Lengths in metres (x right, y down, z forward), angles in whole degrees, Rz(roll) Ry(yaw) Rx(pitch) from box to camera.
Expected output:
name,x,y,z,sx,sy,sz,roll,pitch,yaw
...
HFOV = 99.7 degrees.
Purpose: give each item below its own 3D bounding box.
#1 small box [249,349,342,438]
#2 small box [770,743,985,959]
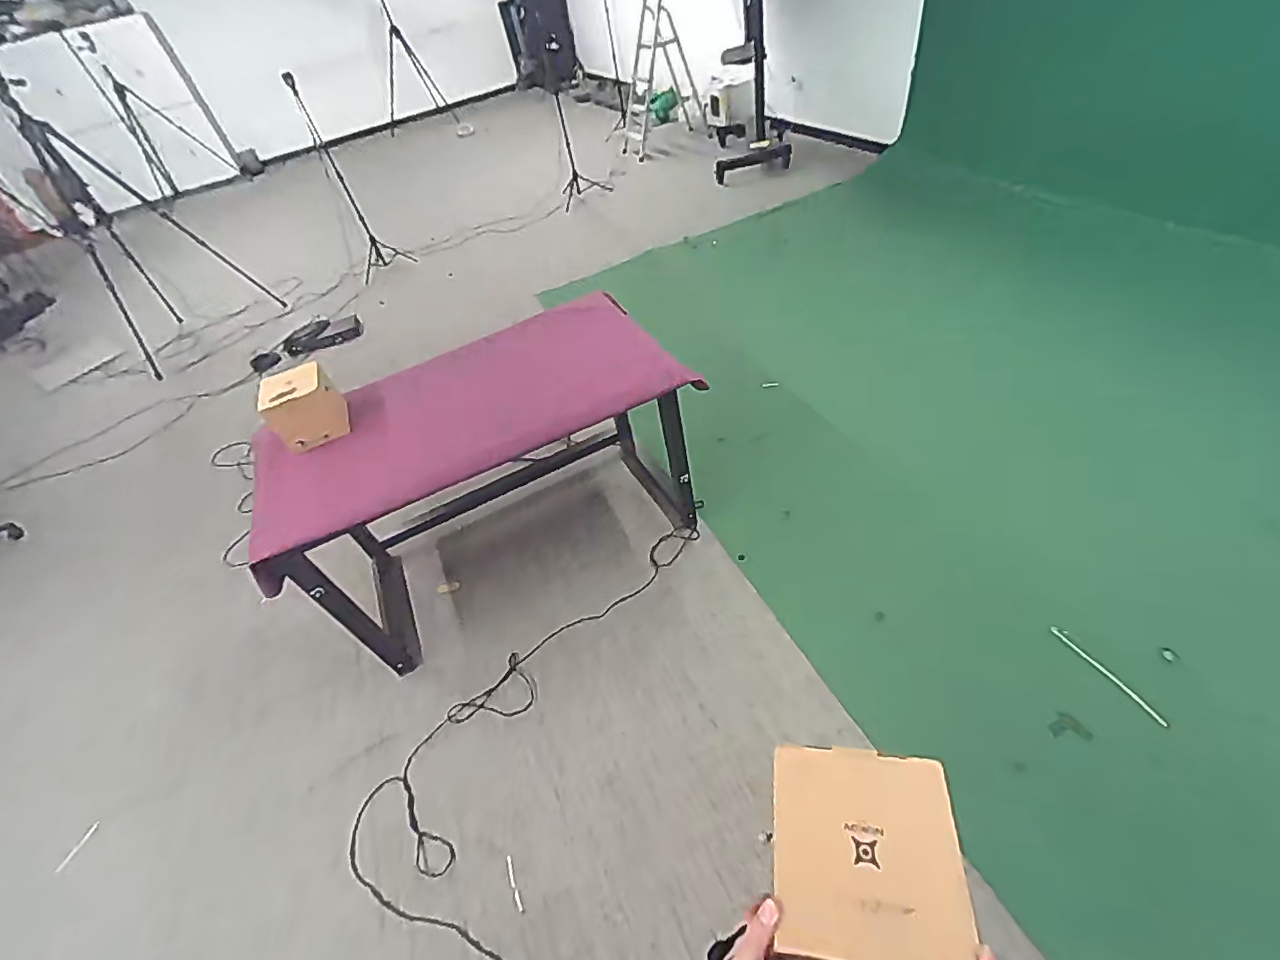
name,x,y,z,sx,sy,sz,roll,pitch,yaw
small box,-0.988,-0.243,1.562,0.168,0.176,0.179,-24,48,-11
small box,0.221,0.401,0.555,0.168,0.176,0.179,2,45,12
